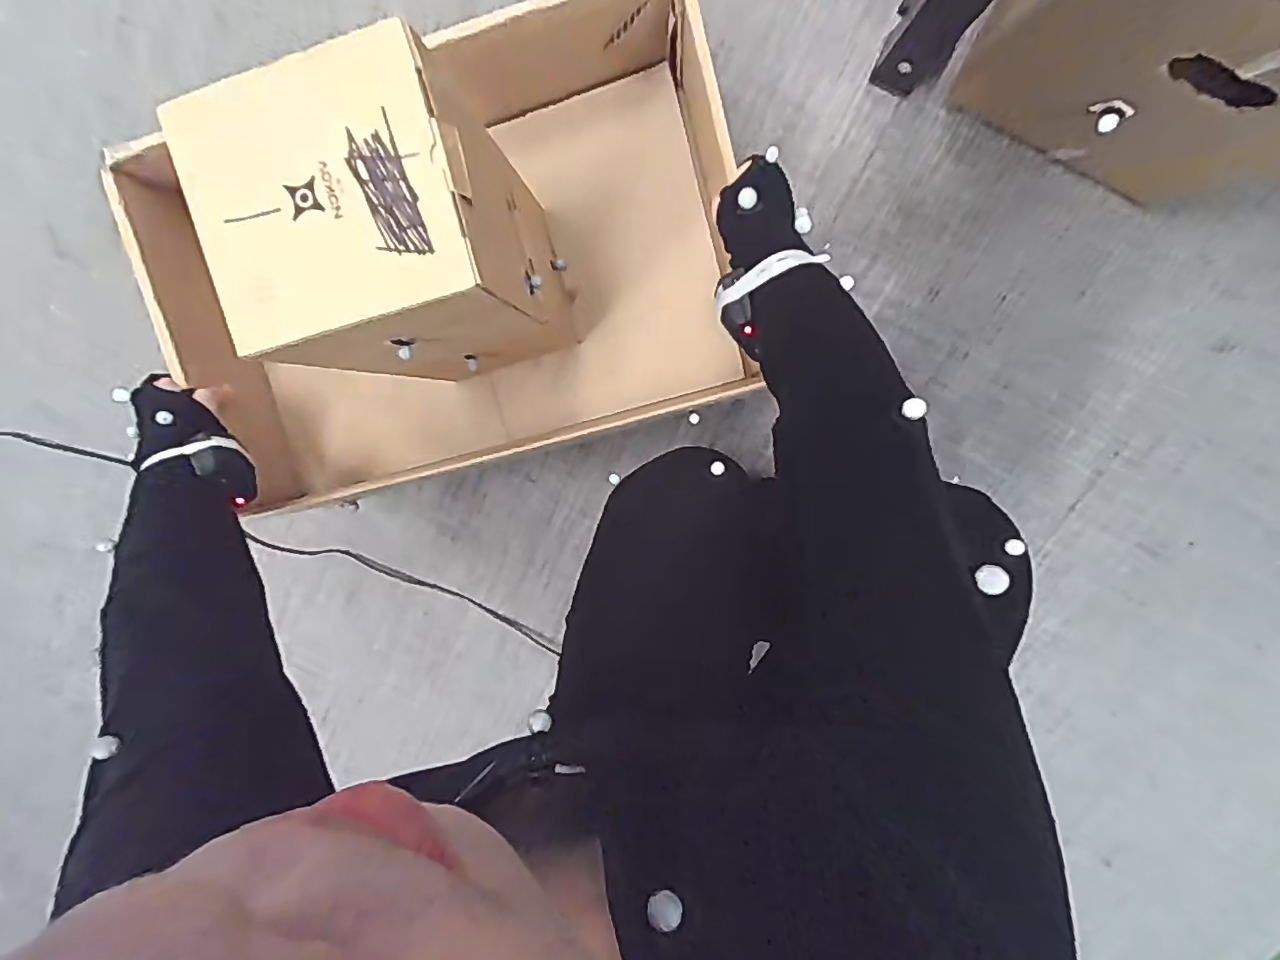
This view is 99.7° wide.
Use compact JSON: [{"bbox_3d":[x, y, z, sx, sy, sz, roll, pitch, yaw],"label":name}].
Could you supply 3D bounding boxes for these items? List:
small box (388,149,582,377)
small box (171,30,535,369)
[{"bbox_3d":[-0.180,-0.215,0.591,0.179,0.176,0.168,-15,97,7],"label":"small box"},{"bbox_3d":[-0.195,-0.191,0.428,0.179,0.176,0.168,-13,96,7],"label":"small box"}]
